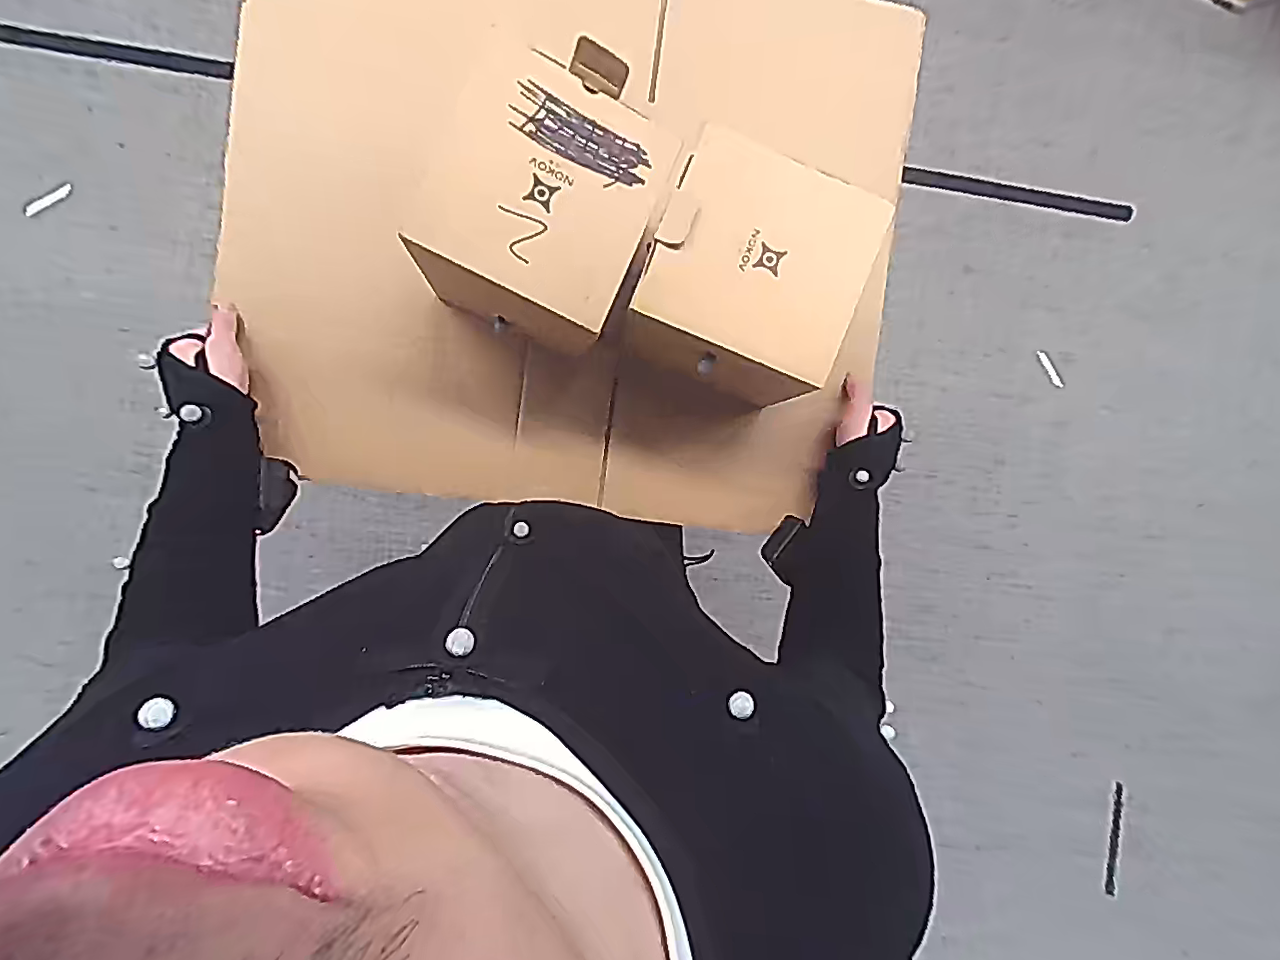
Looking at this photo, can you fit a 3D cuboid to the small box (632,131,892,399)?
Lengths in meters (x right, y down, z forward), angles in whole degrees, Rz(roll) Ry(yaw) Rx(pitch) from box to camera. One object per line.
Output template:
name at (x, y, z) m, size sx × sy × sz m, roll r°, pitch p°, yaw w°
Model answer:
small box at (0.101, -0.188, 0.534) m, size 0.179 × 0.176 × 0.168 m, roll 22°, pitch 91°, yaw -3°
